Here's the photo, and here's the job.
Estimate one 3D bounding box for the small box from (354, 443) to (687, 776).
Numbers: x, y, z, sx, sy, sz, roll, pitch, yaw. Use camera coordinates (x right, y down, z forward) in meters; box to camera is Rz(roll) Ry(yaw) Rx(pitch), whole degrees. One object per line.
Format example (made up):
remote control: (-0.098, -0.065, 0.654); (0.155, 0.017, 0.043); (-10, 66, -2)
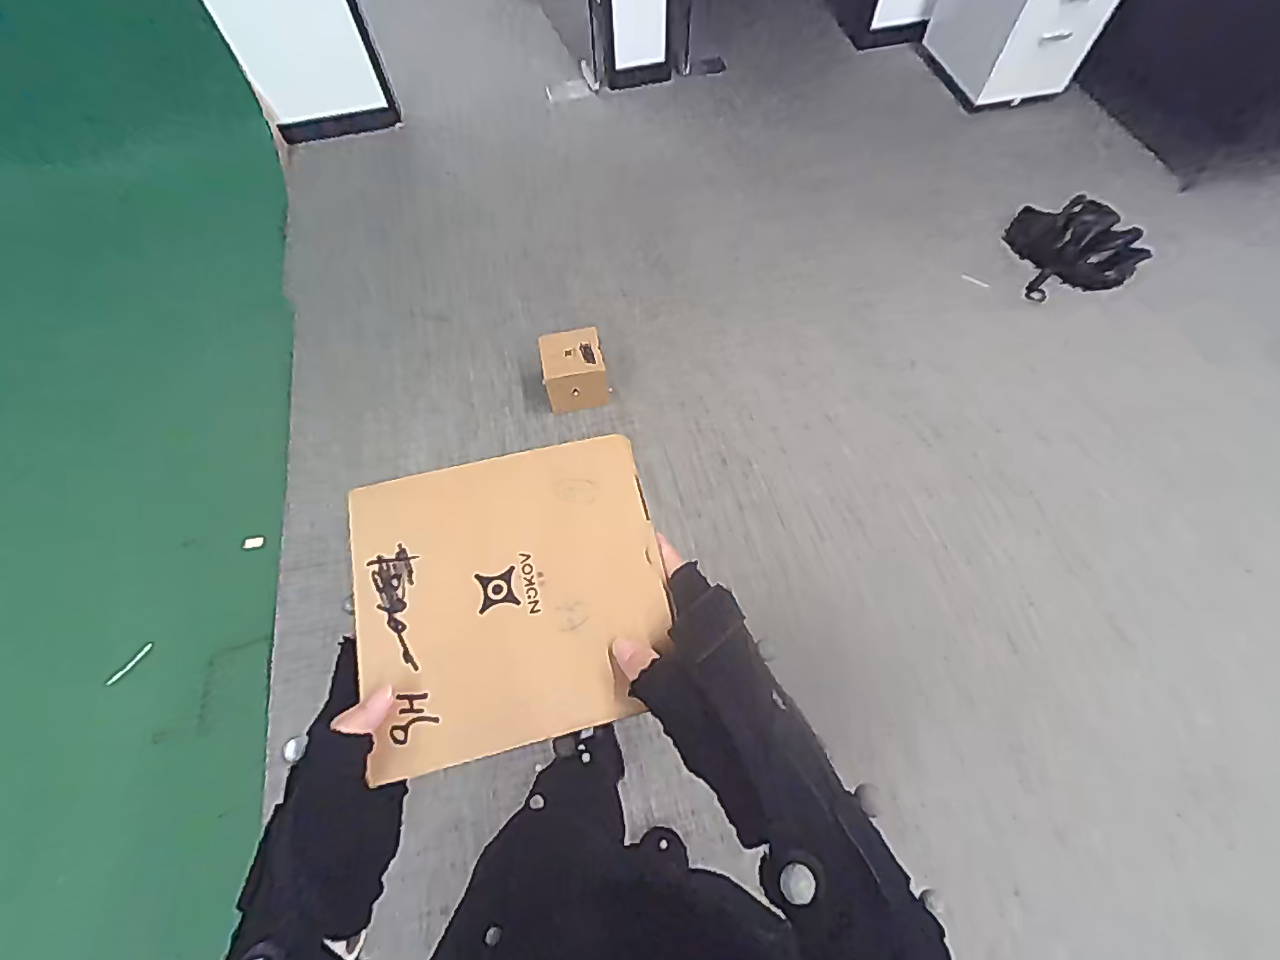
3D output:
small box: (-0.081, 0.094, 0.391); (0.179, 0.176, 0.168); (-11, 68, -8)

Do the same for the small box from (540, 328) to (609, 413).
small box: (-0.190, -0.322, 1.615); (0.179, 0.176, 0.168); (-12, 64, -6)
